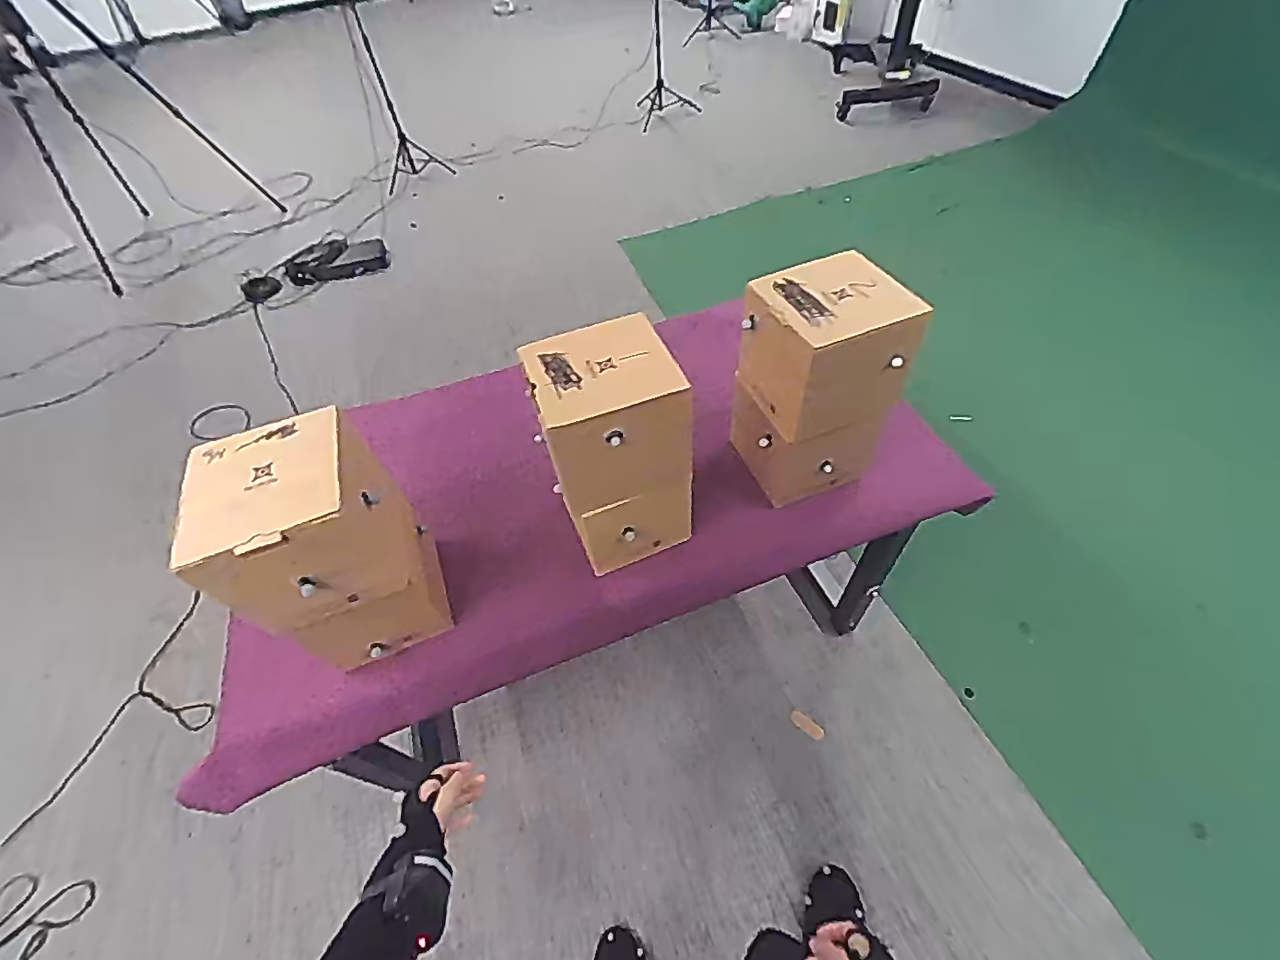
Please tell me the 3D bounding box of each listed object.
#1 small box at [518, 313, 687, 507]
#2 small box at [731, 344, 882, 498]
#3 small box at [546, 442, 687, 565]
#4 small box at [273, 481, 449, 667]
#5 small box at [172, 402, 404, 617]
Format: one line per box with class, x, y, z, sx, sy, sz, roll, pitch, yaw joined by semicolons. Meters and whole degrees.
small box;-0.044;-0.089;0.719;0.179;0.176;0.168;-18;51;-9
small box;0.262;-0.090;0.899;0.168;0.176;0.179;-18;52;-9
small box;-0.032;0.012;0.848;0.168;0.176;0.179;-21;52;-11
small box;-0.394;0.137;0.780;0.168;0.176;0.179;-21;54;-11
small box;-0.400;0.044;0.646;0.168;0.176;0.179;-19;54;-10
